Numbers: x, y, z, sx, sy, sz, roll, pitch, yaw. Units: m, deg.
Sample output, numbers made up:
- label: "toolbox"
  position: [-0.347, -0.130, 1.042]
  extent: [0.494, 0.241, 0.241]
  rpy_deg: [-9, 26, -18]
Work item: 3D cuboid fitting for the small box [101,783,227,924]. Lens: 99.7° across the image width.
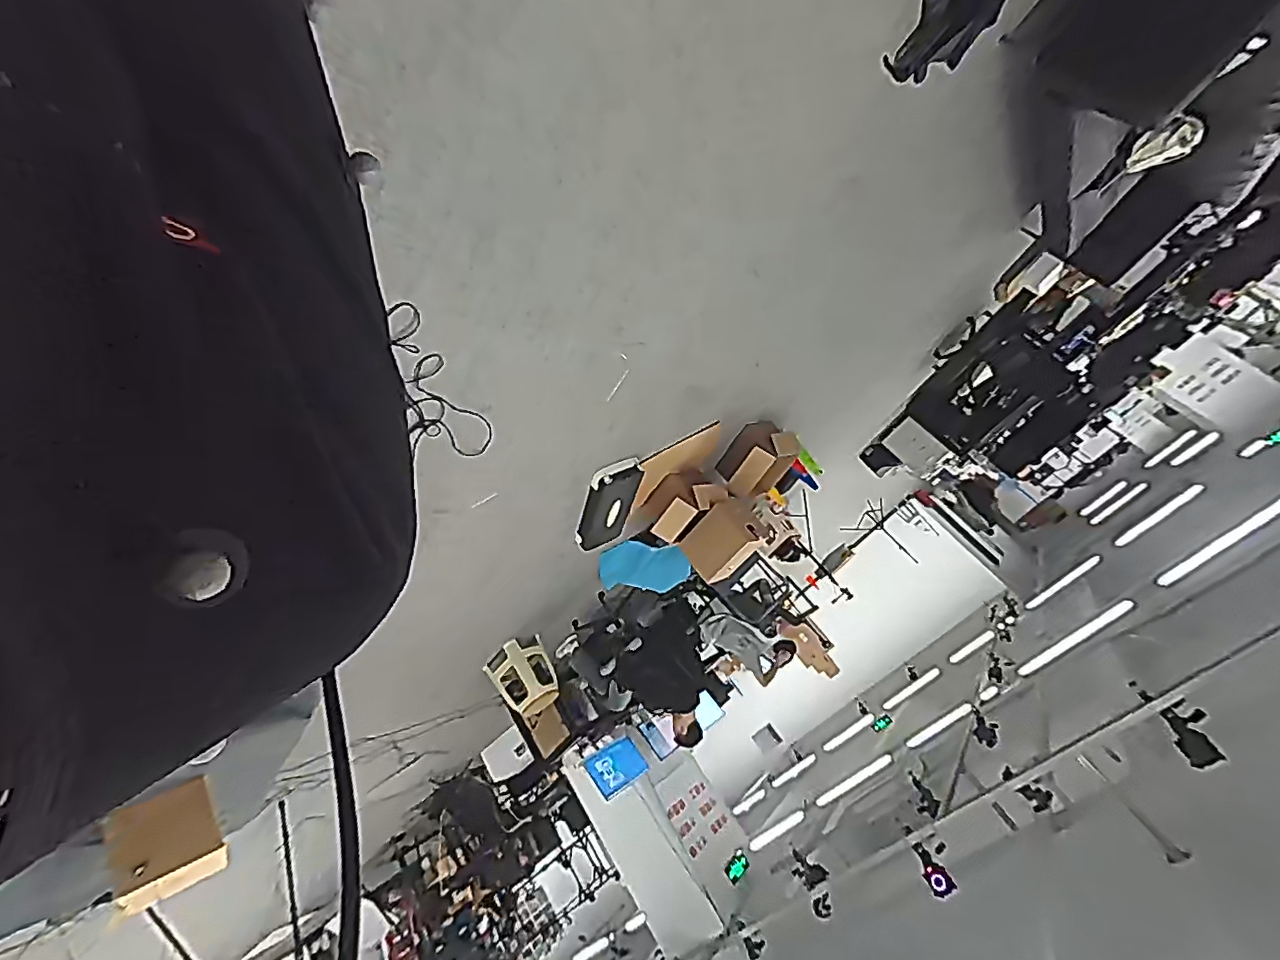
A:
- label: "small box"
  position: [-1.019, 0.793, 1.163]
  extent: [0.179, 0.176, 0.168]
  rpy_deg: [-12, 144, -44]
